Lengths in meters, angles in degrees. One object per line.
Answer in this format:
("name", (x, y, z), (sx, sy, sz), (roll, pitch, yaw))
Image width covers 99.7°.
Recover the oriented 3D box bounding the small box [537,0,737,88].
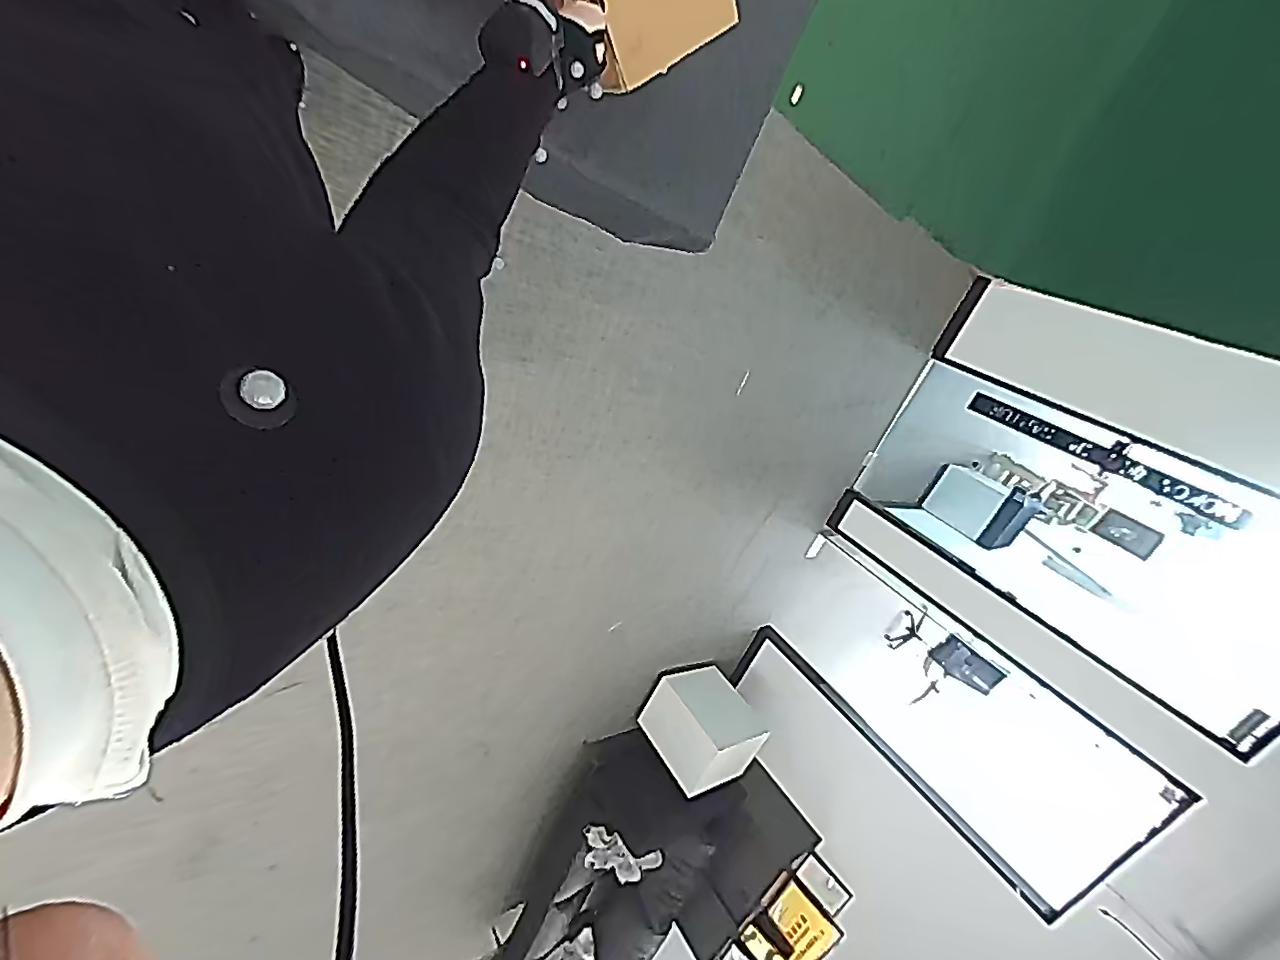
("small box", (-0.020, -0.588, 0.625), (0.179, 0.176, 0.168), (-39, 140, -9))
